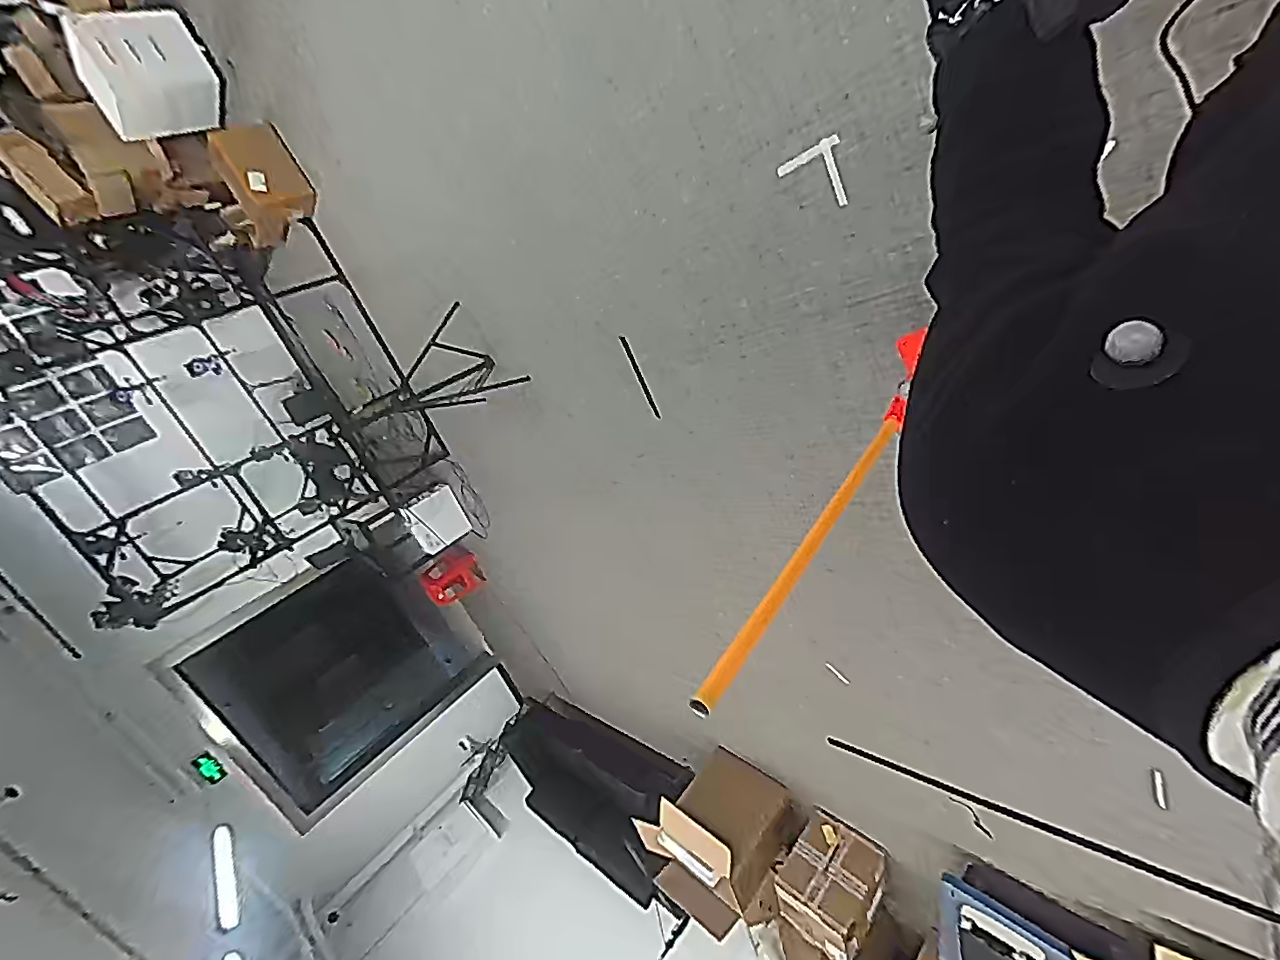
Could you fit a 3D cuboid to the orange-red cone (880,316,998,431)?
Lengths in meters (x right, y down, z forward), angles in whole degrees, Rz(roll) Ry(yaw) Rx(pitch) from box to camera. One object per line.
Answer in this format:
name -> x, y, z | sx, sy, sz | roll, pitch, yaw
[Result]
orange-red cone -> 0.657, -0.211, 1.270 | 0.199, 0.360, 0.198 | -13, 110, 56
